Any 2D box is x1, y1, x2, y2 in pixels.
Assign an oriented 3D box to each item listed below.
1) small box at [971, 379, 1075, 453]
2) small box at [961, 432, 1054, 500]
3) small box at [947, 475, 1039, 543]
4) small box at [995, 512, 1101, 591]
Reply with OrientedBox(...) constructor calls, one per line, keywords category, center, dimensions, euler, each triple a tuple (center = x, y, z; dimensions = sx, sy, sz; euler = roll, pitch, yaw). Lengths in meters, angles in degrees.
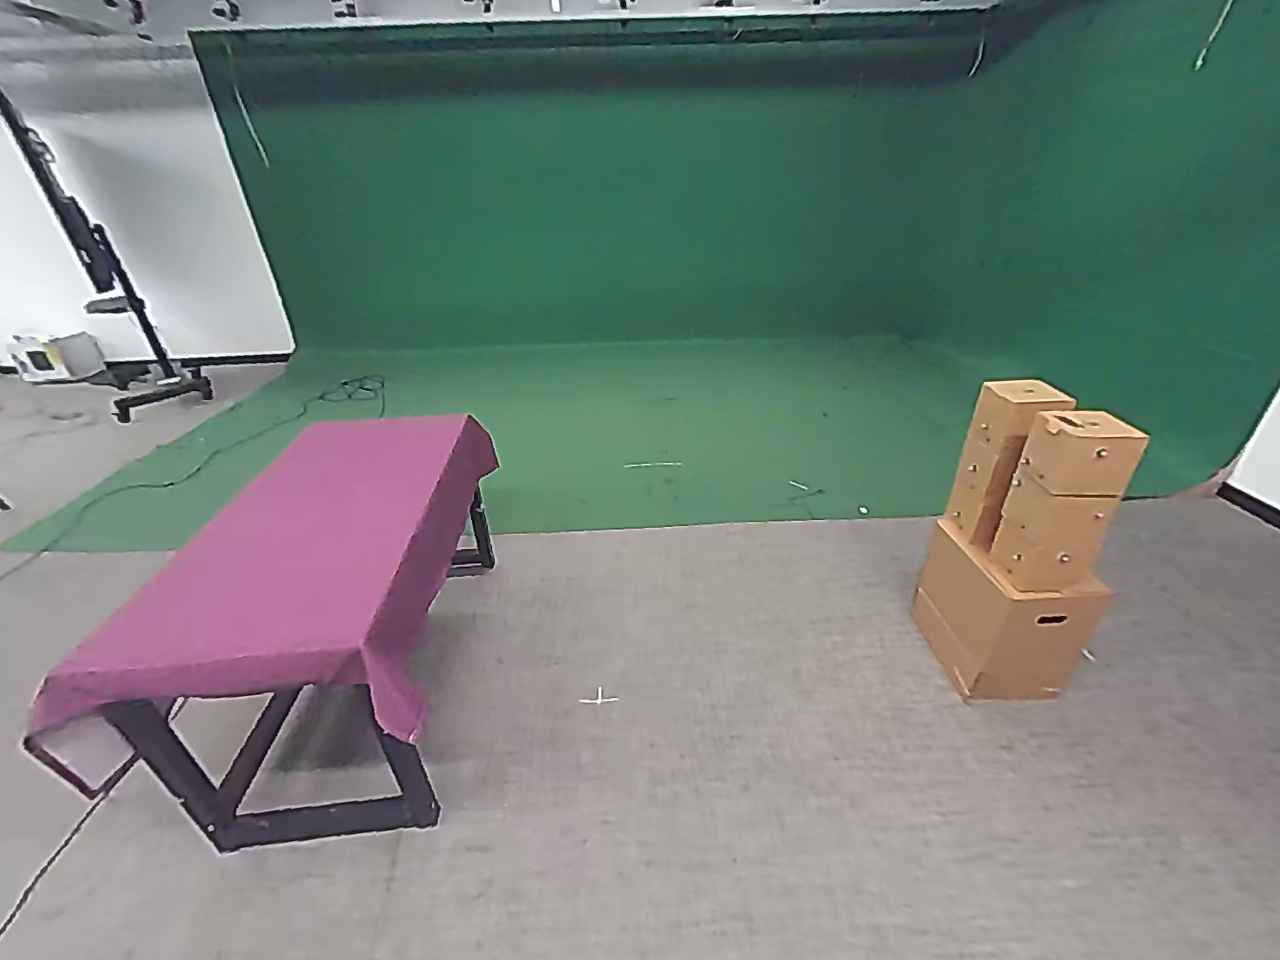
OrientedBox(category="small box", center=(1.140, -0.192, 1.624), dimensions=(0.179, 0.176, 0.168), euler=(-3, 30, 1))
OrientedBox(category="small box", center=(1.145, -0.047, 1.706), dimensions=(0.179, 0.176, 0.168), euler=(-3, 31, 2))
OrientedBox(category="small box", center=(1.158, 0.094, 1.789), dimensions=(0.179, 0.176, 0.168), euler=(-4, 31, 0))
OrientedBox(category="small box", center=(1.178, 0.210, 1.583), dimensions=(0.179, 0.176, 0.168), euler=(-1, 29, 2))
